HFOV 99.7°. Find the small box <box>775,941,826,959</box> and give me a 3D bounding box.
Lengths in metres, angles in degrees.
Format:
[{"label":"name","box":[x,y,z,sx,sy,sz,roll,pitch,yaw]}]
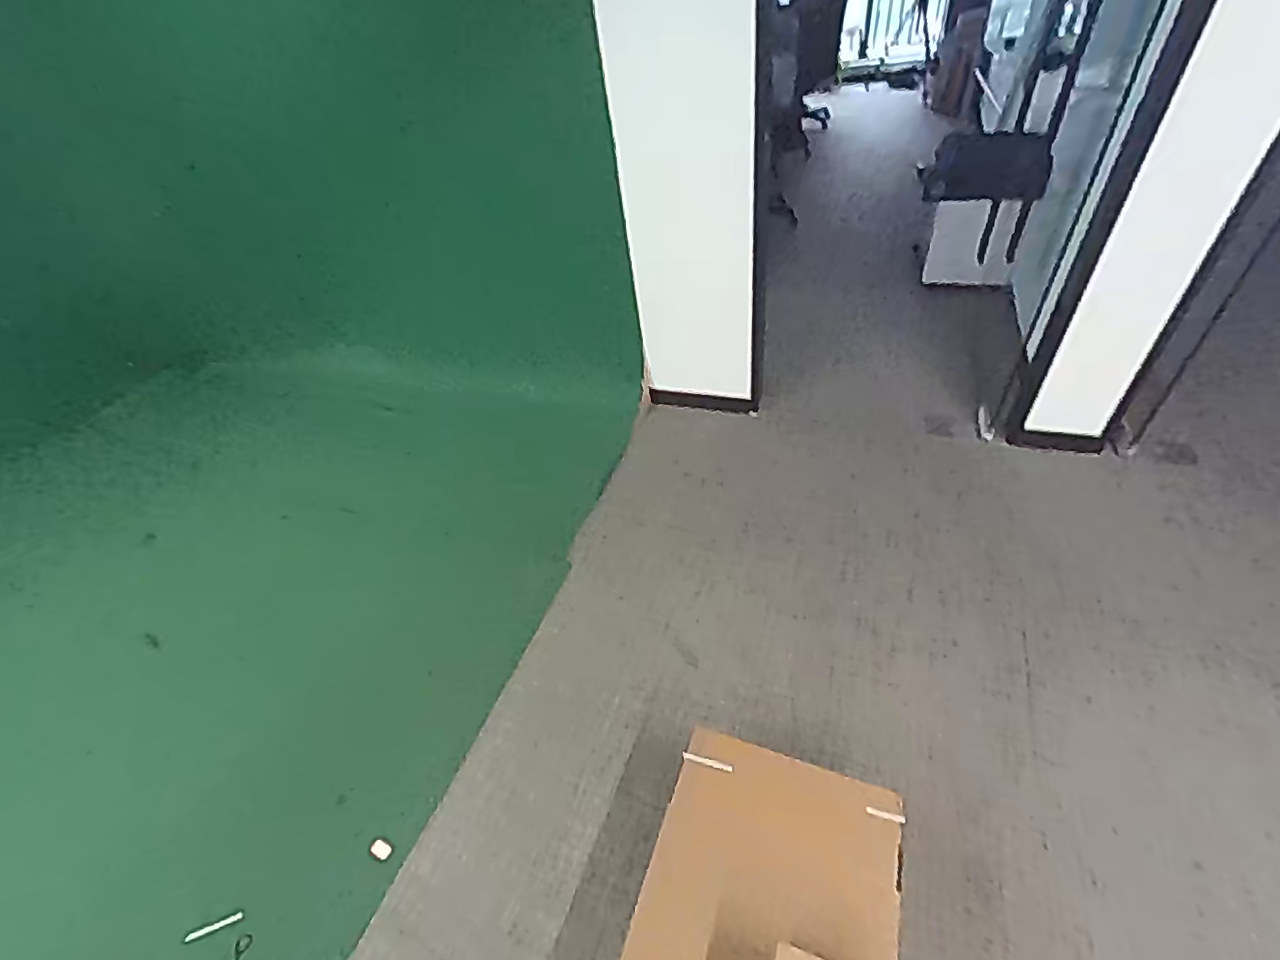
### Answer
[{"label":"small box","box":[0.251,0.754,0.712,0.179,0.176,0.168,11,46,21]}]
